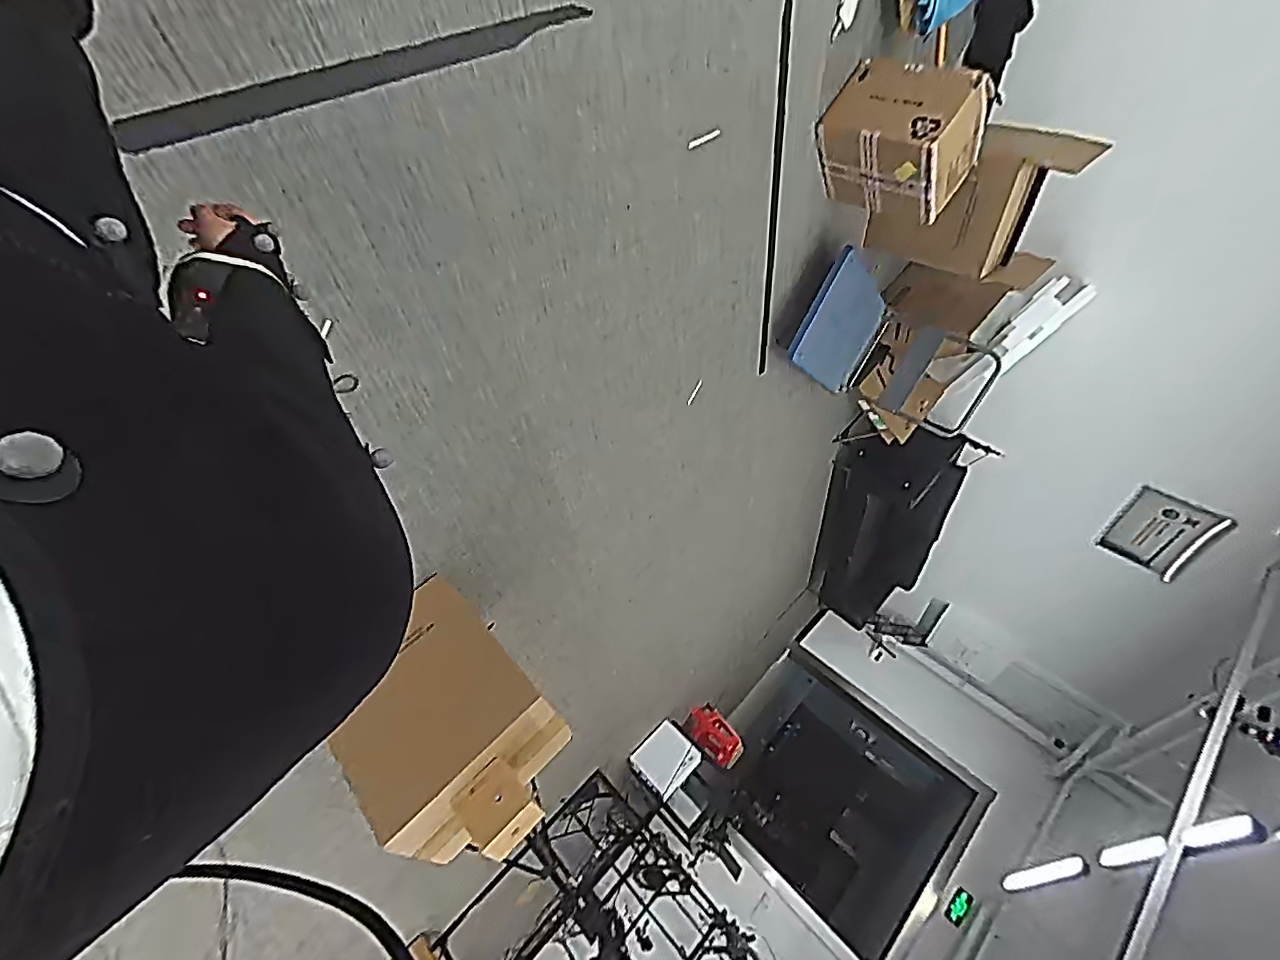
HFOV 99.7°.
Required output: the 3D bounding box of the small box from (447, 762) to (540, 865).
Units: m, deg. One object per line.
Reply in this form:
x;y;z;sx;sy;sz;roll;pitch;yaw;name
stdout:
-0.410;0.928;1.514;0.168;0.176;0.179;-39;145;-25;small box
